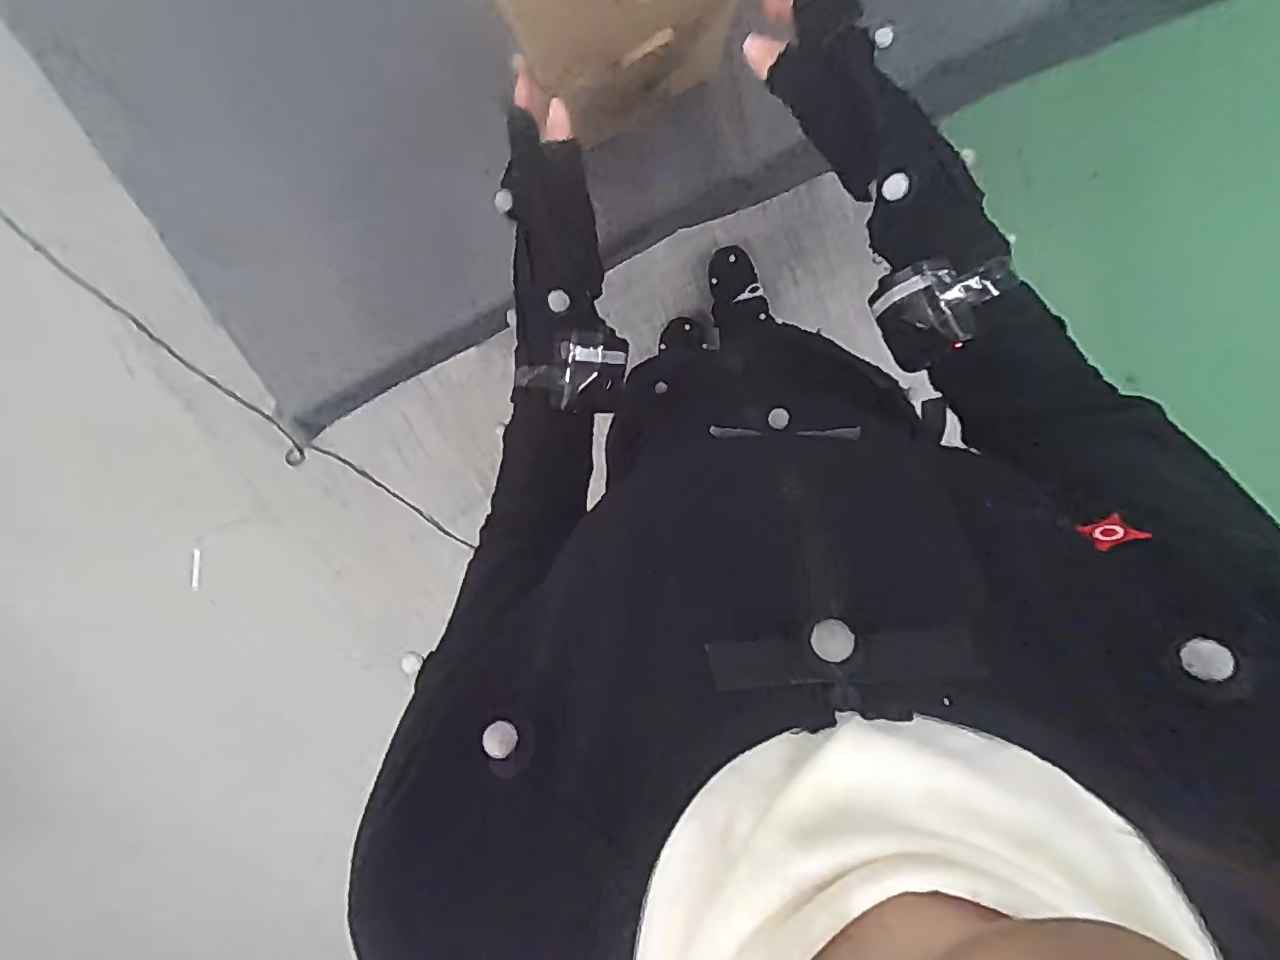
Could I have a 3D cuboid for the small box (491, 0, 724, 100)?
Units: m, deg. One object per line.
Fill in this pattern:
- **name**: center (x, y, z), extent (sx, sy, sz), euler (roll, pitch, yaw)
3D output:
- **small box**: center (-0.031, -0.371, 0.315), extent (0.179, 0.176, 0.168), euler (-25, 106, 9)
